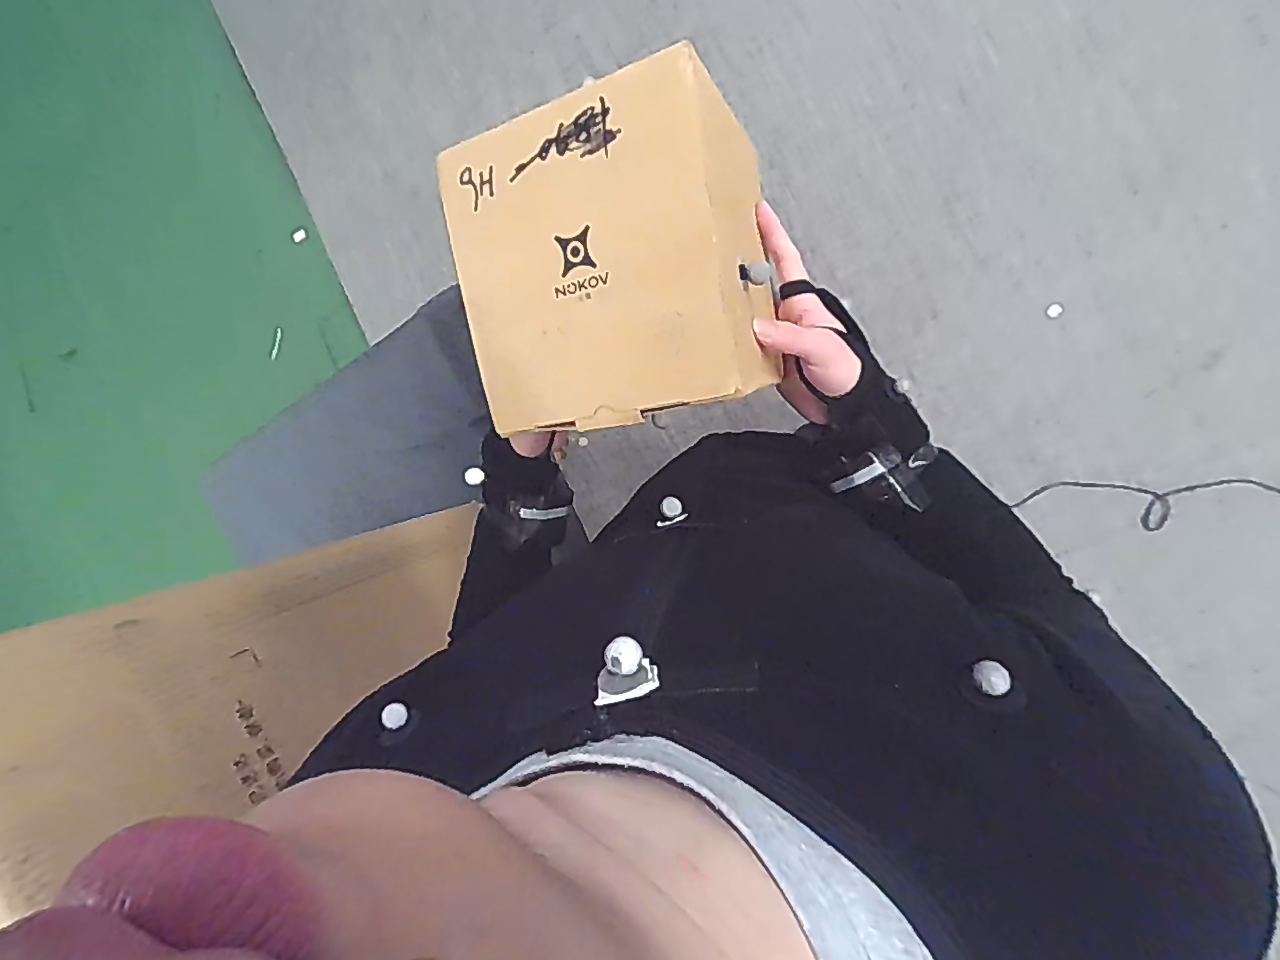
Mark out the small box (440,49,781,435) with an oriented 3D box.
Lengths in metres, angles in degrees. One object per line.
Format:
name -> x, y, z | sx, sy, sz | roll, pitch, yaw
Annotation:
small box -> -0.003, -0.140, 0.383 | 0.168, 0.176, 0.179 | -7, 101, 24
